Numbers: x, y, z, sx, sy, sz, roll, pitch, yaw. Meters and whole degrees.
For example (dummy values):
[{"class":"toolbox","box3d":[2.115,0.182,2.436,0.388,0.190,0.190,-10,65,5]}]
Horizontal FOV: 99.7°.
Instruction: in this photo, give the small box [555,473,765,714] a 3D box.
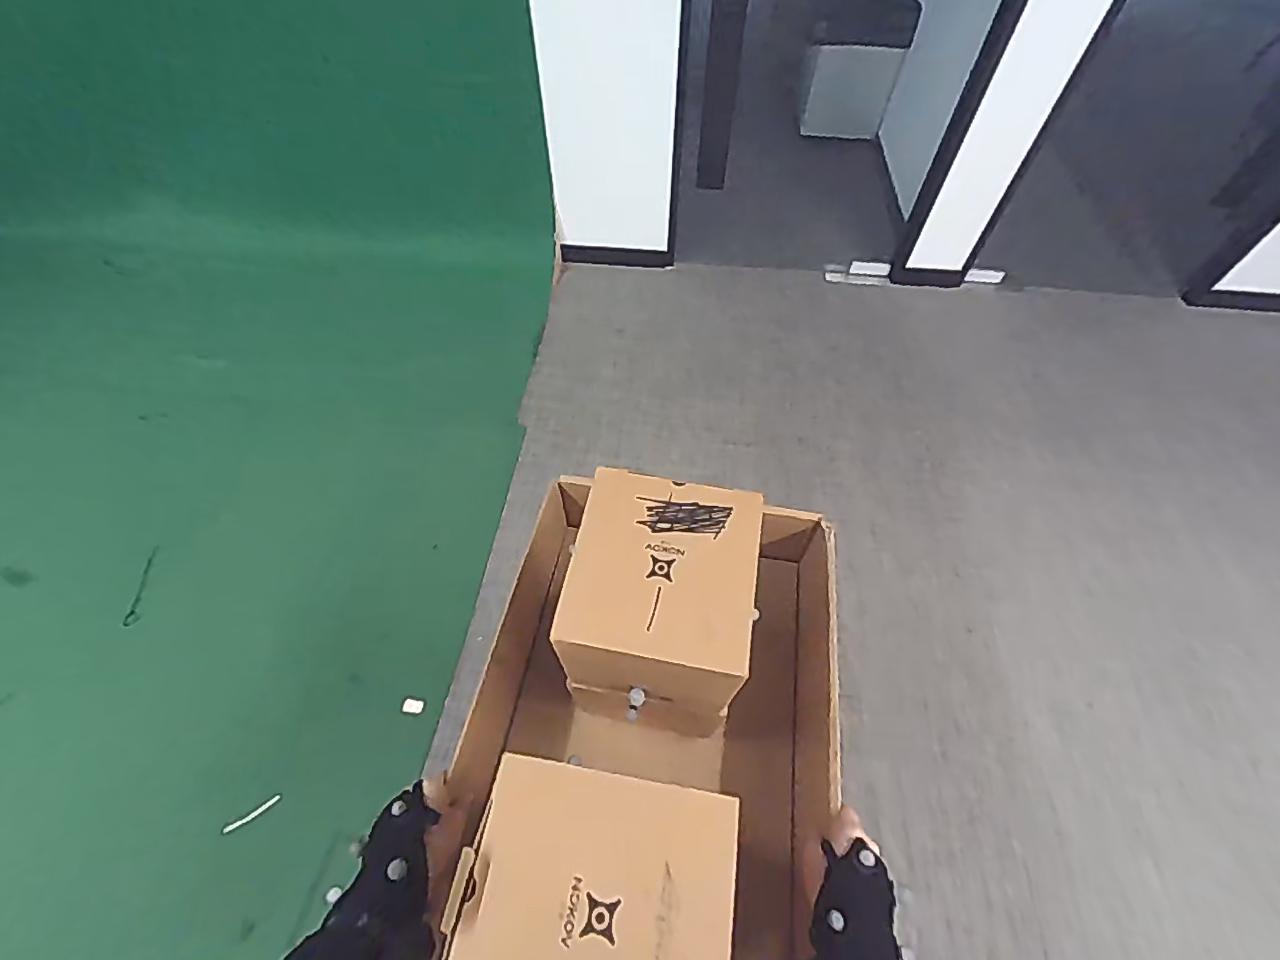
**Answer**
[{"class":"small box","box3d":[0.022,0.122,0.555,0.168,0.176,0.179,11,59,6]}]

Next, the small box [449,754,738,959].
[{"class":"small box","box3d":[-0.029,0.328,0.417,0.179,0.176,0.168,9,56,4]}]
